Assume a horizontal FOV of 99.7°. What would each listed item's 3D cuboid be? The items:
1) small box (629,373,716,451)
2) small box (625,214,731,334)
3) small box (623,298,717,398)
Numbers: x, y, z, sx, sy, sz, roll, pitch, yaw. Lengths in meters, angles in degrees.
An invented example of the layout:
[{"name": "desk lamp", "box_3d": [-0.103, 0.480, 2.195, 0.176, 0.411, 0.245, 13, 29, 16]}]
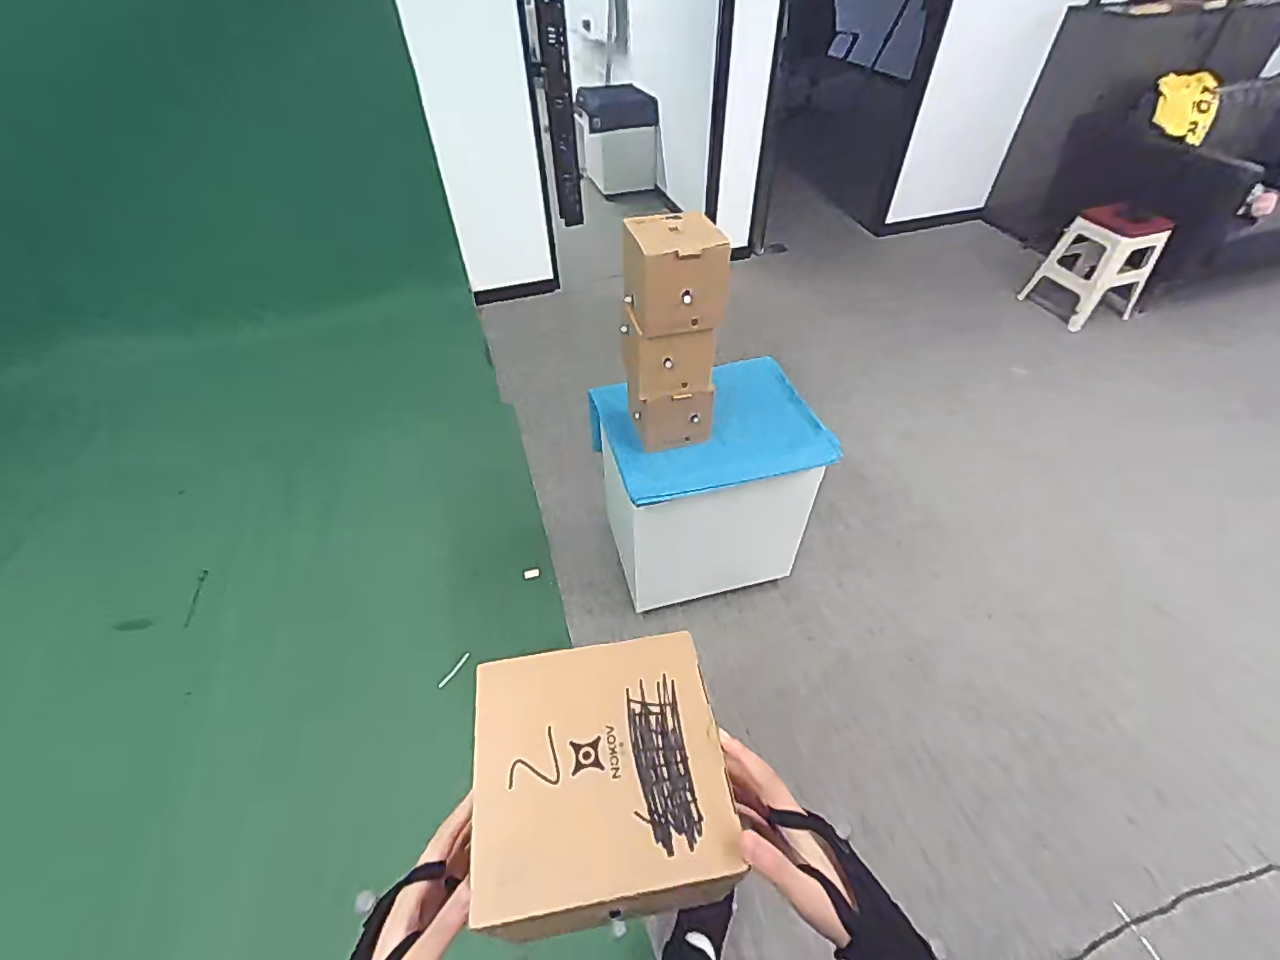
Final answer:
[{"name": "small box", "box_3d": [0.074, -0.185, 1.317, 0.168, 0.176, 0.179, -11, 46, -11]}, {"name": "small box", "box_3d": [0.069, -0.403, 1.074, 0.168, 0.176, 0.179, -10, 47, -10]}, {"name": "small box", "box_3d": [0.061, -0.296, 1.198, 0.168, 0.176, 0.179, -10, 46, -10]}]
